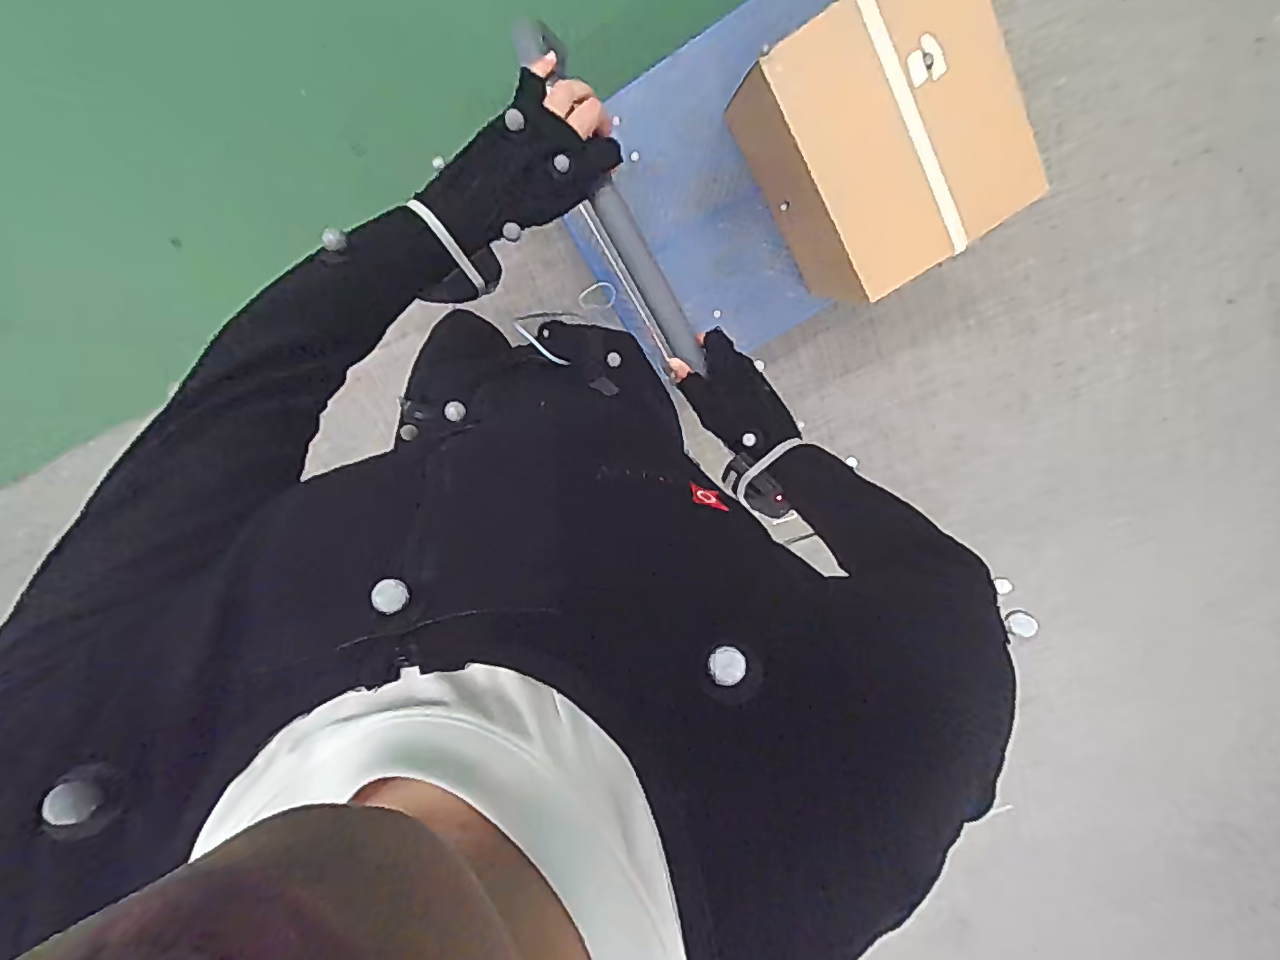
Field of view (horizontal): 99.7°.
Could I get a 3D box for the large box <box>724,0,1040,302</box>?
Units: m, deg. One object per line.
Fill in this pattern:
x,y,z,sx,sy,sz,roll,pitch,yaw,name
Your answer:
0.394,-0.578,0.955,0.320,0.320,0.408,-31,108,10,large box
